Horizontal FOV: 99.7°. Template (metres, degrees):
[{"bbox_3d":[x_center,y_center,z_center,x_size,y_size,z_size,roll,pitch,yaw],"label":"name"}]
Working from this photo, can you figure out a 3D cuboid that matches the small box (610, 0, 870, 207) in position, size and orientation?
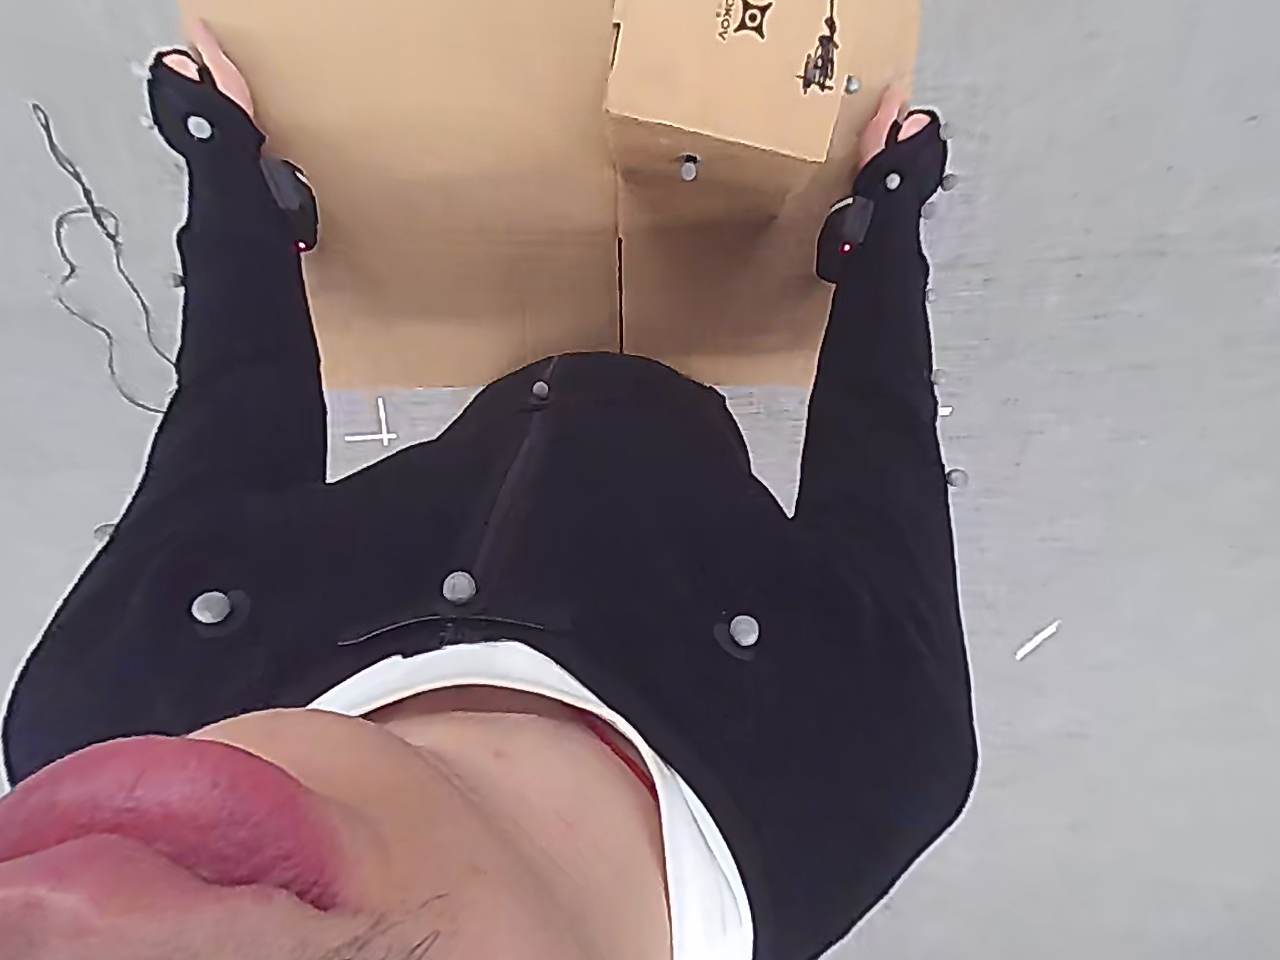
[{"bbox_3d":[0.083,-0.361,0.478,0.179,0.176,0.168,13,104,0],"label":"small box"}]
